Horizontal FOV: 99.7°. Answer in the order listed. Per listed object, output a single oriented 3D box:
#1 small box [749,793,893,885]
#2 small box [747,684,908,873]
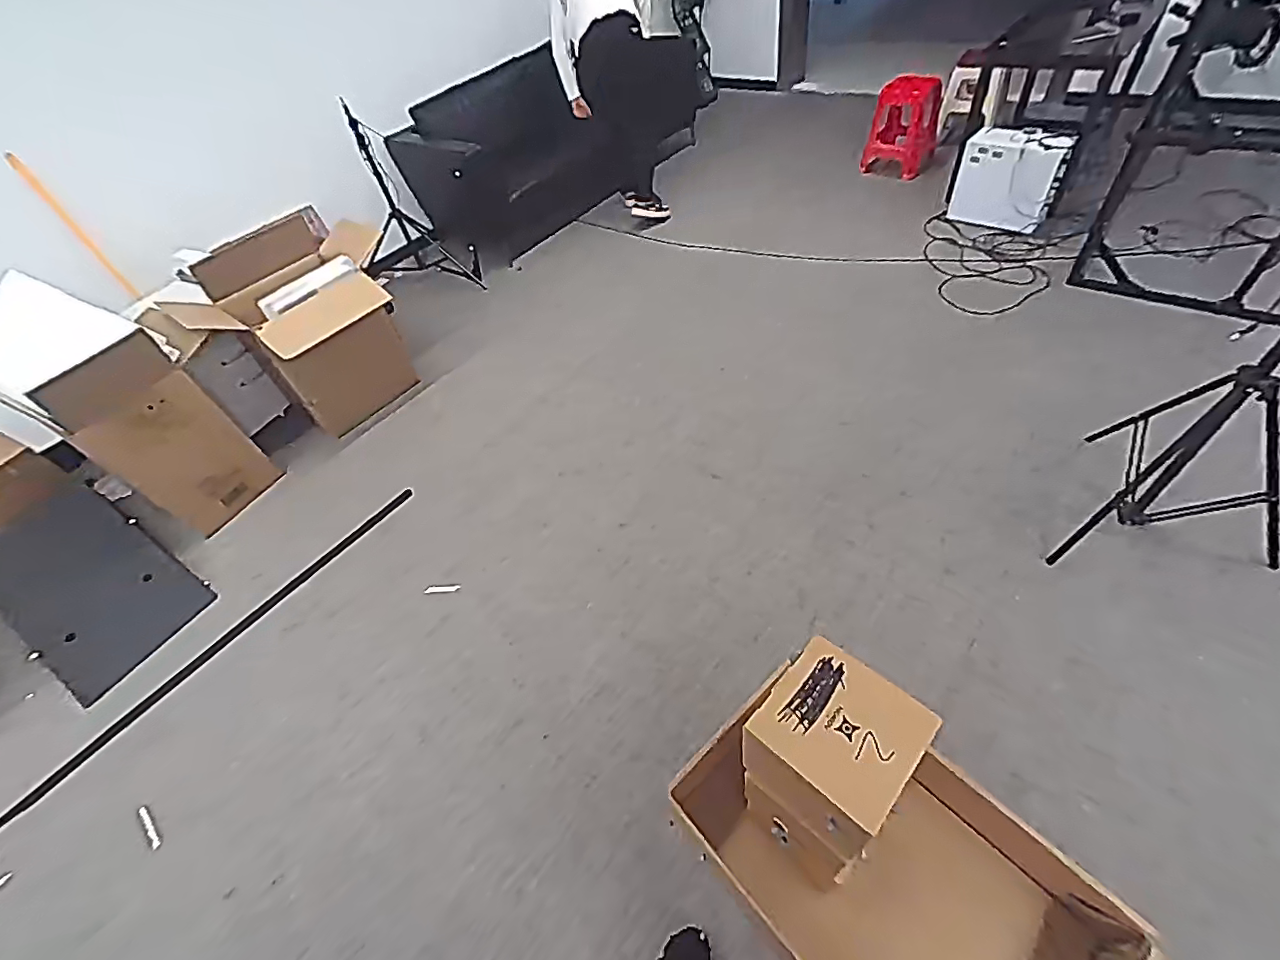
[{"bbox_3d":[0.306,0.573,0.952,0.168,0.176,0.179,-40,55,-22],"label":"small box"},{"bbox_3d":[0.277,0.461,0.836,0.168,0.176,0.179,31,61,32],"label":"small box"}]
